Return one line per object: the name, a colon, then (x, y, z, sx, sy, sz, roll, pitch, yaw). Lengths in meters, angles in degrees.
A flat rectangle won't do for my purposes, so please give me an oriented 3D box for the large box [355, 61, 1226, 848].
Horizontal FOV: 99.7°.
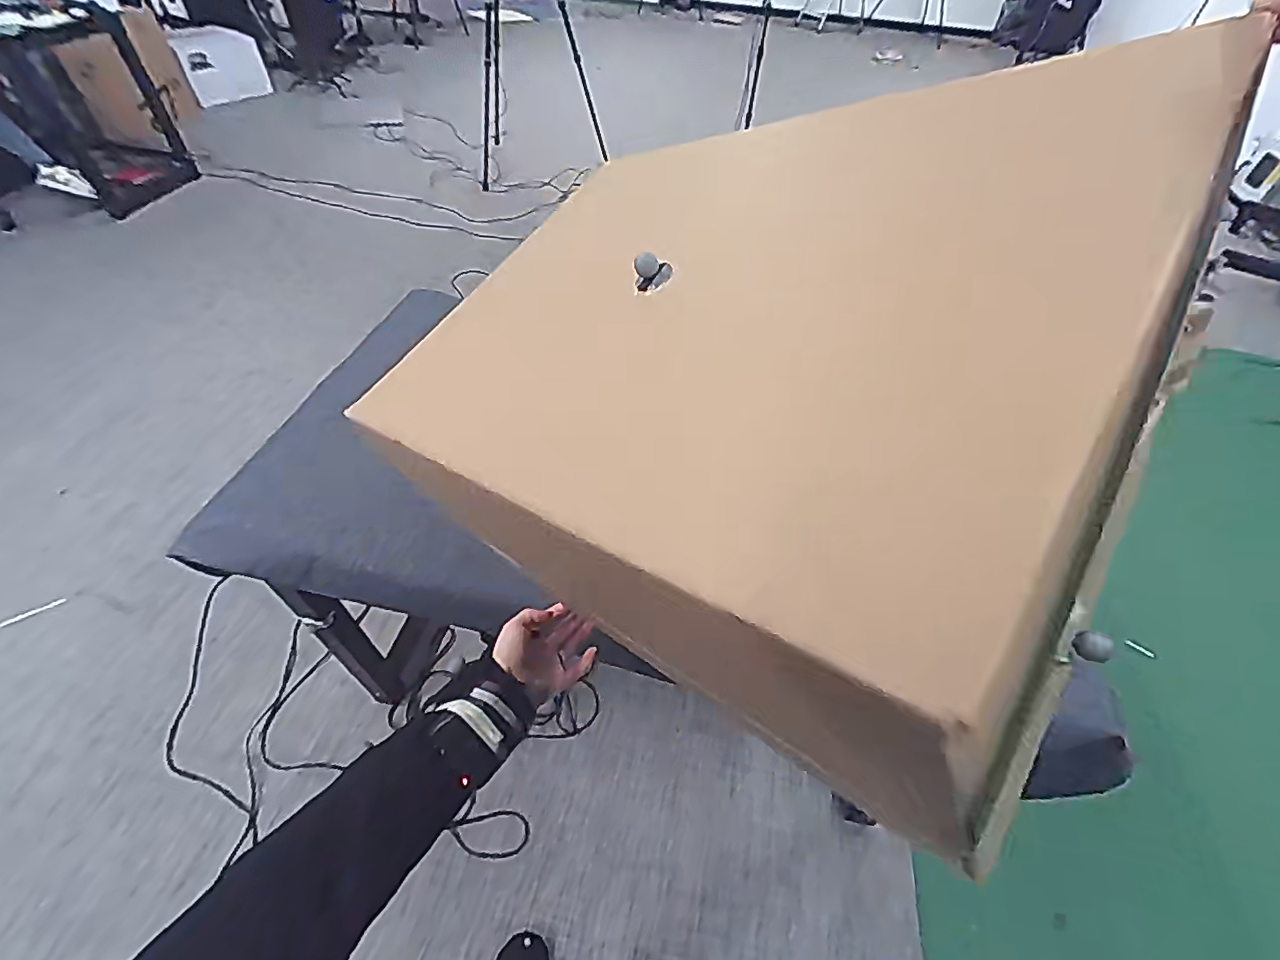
large box: (0.080, -0.016, 0.402, 0.408, 0.320, 0.320, 18, 64, 41)
